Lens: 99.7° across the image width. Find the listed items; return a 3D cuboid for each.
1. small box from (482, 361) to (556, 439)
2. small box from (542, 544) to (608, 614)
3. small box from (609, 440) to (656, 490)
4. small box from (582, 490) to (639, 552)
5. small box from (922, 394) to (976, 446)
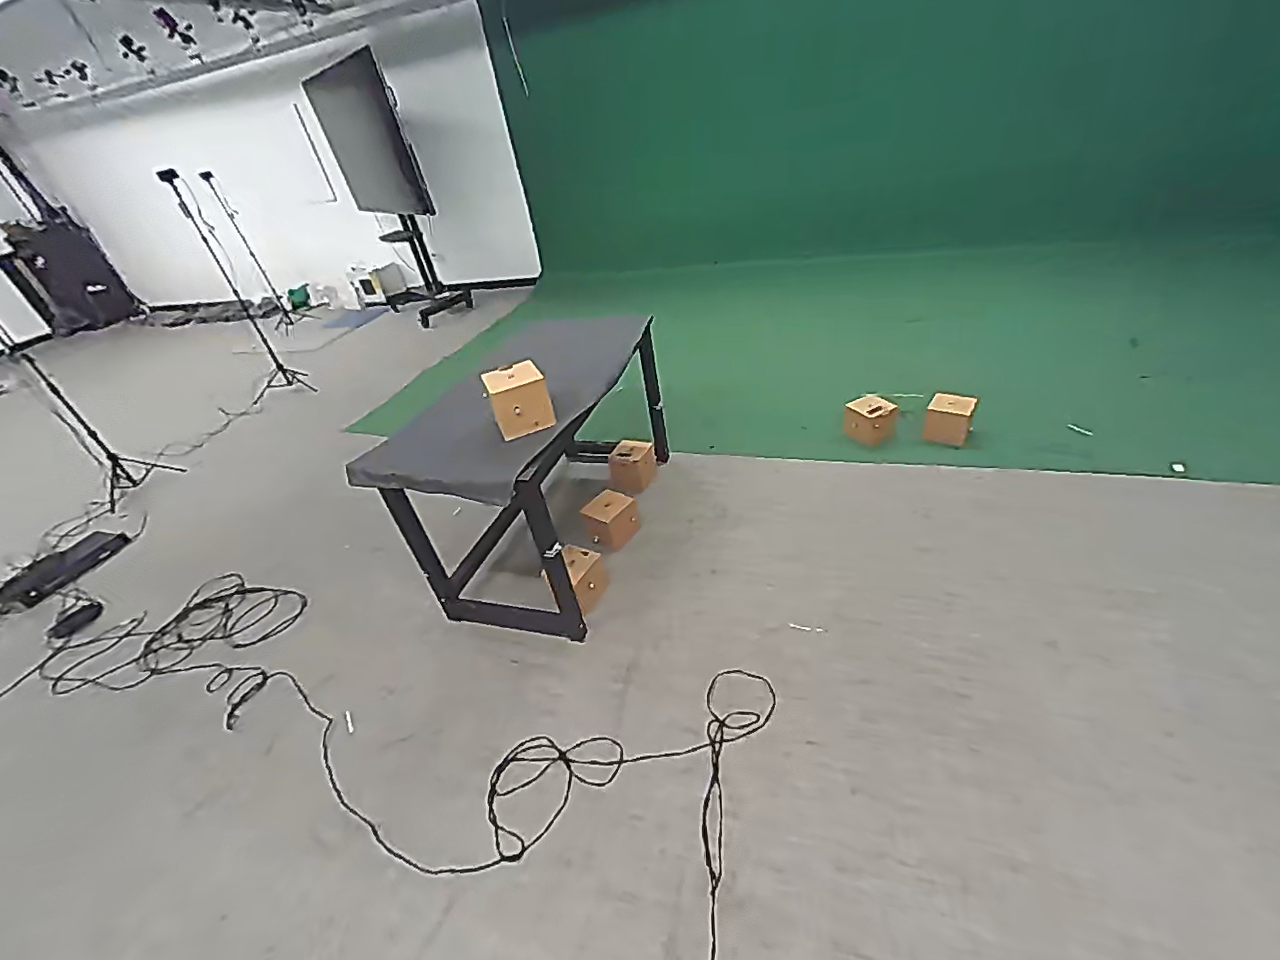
[{"bbox_3d":[-0.376,-0.246,1.697,0.168,0.176,0.179,-21,37,-15],"label":"small box"},{"bbox_3d":[-0.239,0.379,2.053,0.168,0.176,0.179,13,42,29],"label":"small box"},{"bbox_3d":[-0.030,-0.071,2.619,0.168,0.176,0.179,8,39,24],"label":"small box"},{"bbox_3d":[-0.120,0.173,2.306,0.168,0.176,0.179,18,46,35],"label":"small box"},{"bbox_3d":[1.435,-0.280,2.518,0.179,0.176,0.168,19,45,34],"label":"small box"}]
